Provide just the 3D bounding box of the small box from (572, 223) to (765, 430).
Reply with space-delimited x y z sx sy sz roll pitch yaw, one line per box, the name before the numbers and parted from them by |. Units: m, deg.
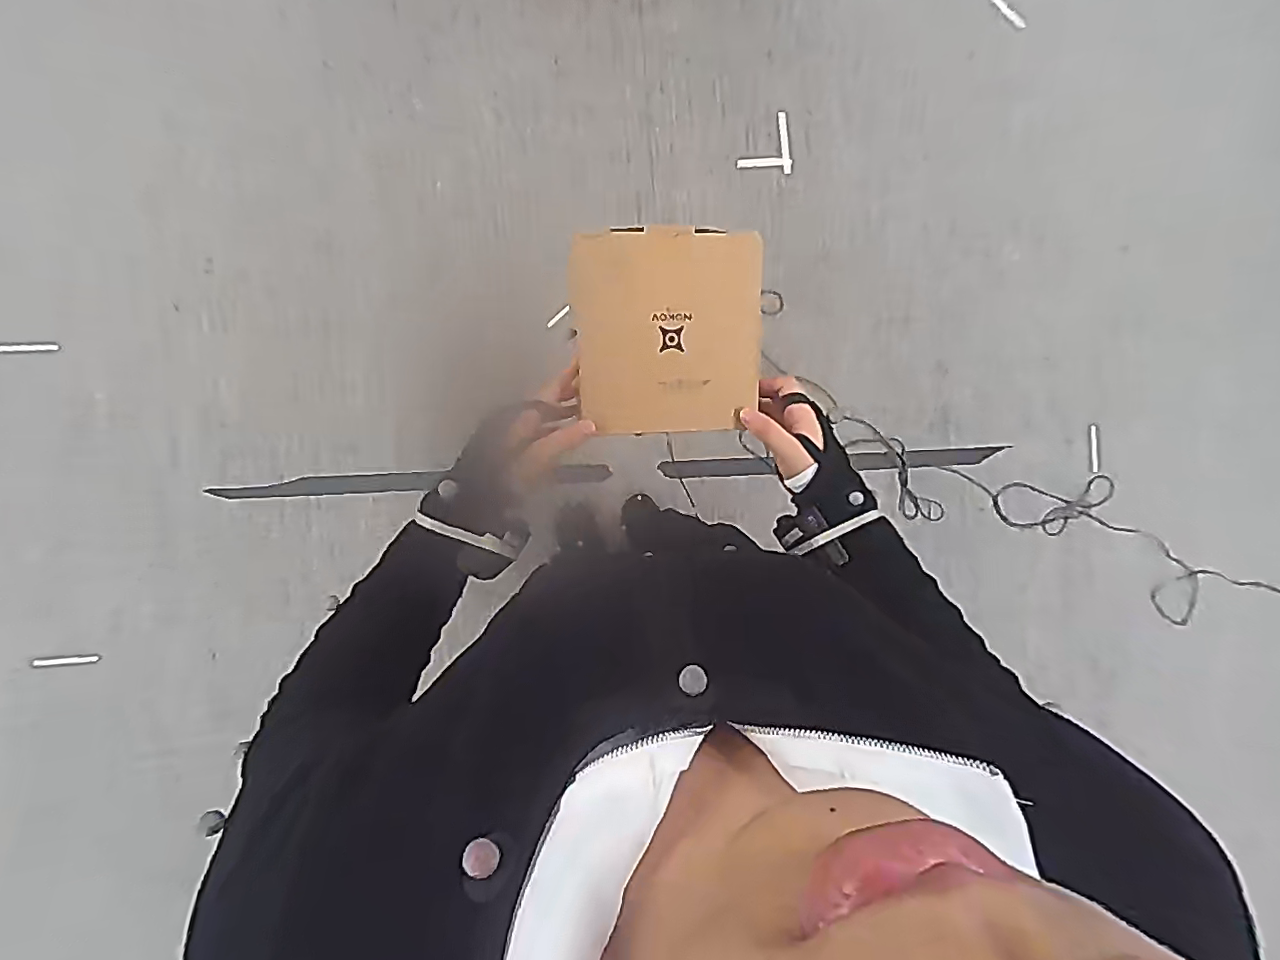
small box | 0.018 -0.148 0.556 0.168 0.176 0.179 -3 102 -8
